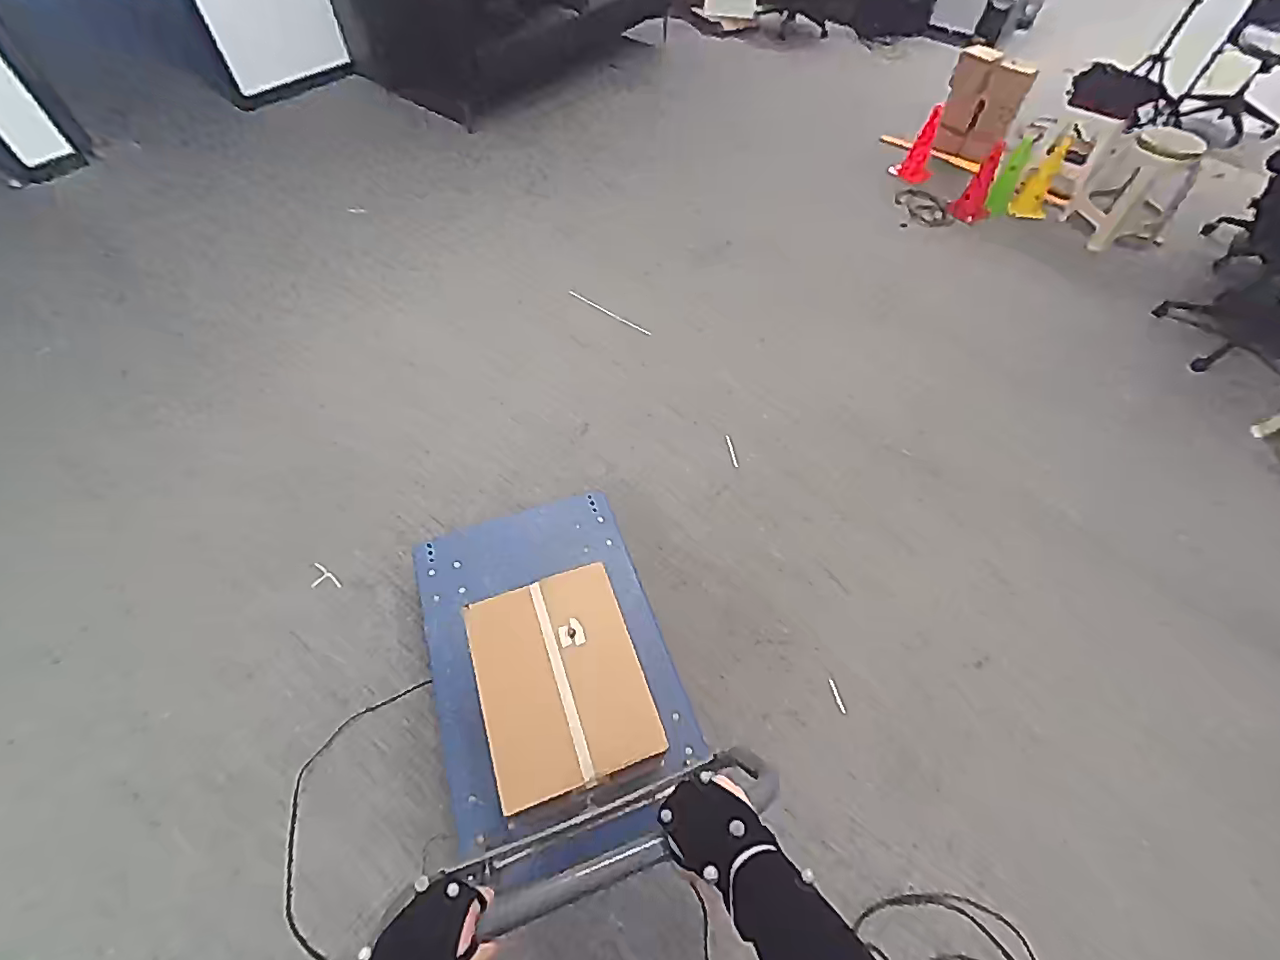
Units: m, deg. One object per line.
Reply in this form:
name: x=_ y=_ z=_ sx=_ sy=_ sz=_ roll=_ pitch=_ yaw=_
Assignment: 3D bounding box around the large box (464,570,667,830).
large box: x=-0.160 y=0.480 z=1.186 sx=0.320 sy=0.320 sz=0.408 roll=-16 pitch=56 yaw=-13
